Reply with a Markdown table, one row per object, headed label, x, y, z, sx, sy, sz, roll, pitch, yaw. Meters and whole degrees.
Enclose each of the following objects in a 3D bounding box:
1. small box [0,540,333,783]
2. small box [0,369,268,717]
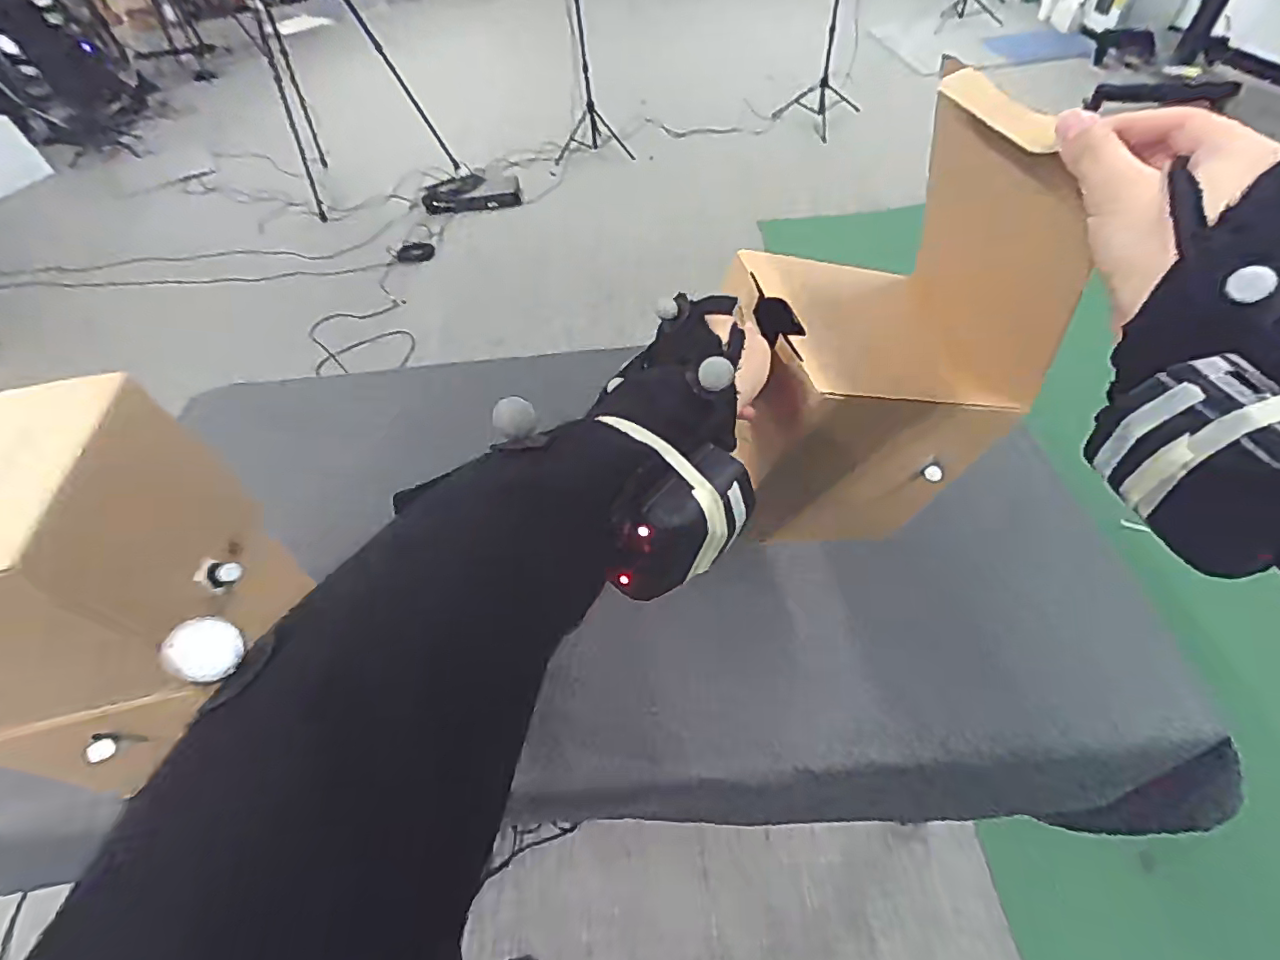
| label | x | y | z | sx | sy | sz | roll | pitch | yaw |
| --- | --- | --- | --- | --- | --- | --- | --- | --- | --- |
| small box | -0.420 | 0.160 | 0.506 | 0.179 | 0.176 | 0.168 | -13 | 50 | -5 |
| small box | -0.417 | 0.051 | 0.385 | 0.179 | 0.176 | 0.168 | -12 | 52 | -5 |
